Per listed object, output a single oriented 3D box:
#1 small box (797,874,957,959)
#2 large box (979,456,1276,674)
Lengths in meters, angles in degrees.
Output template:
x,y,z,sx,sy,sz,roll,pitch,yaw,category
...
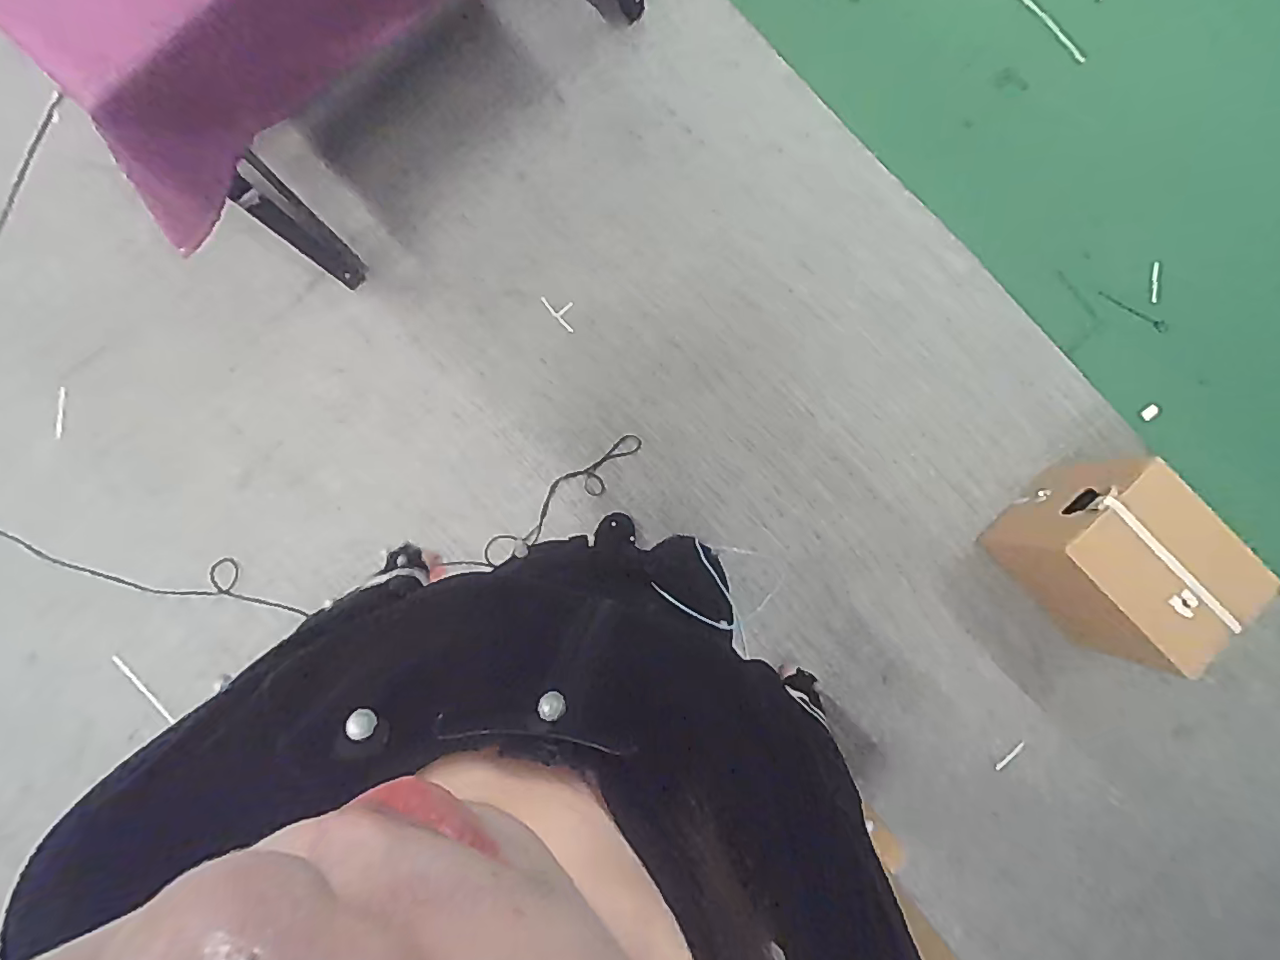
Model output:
x,y,z,sx,sy,sz,roll,pitch,yaw,category
0.355,0.714,0.758,0.179,0.176,0.168,38,86,2,small box
1.181,0.194,1.357,0.320,0.320,0.408,-43,90,-2,large box
